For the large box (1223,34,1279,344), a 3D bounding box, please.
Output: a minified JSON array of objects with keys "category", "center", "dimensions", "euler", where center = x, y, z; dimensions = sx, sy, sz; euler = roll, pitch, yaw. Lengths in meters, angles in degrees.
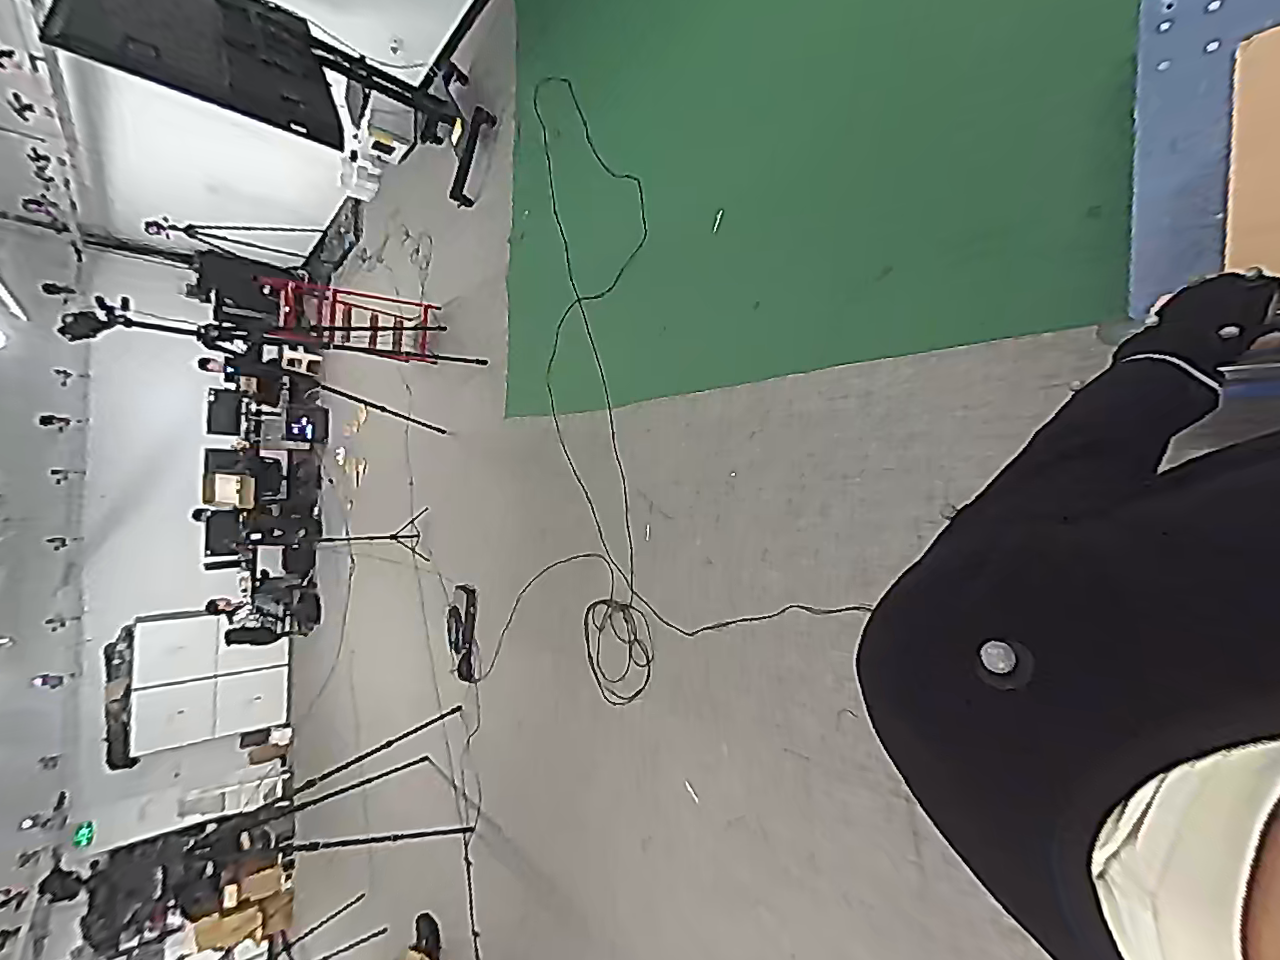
[{"category":"large box","center":[1.126,-0.457,0.819],"dimensions":[0.320,0.320,0.408],"euler":[3,90,48]}]
